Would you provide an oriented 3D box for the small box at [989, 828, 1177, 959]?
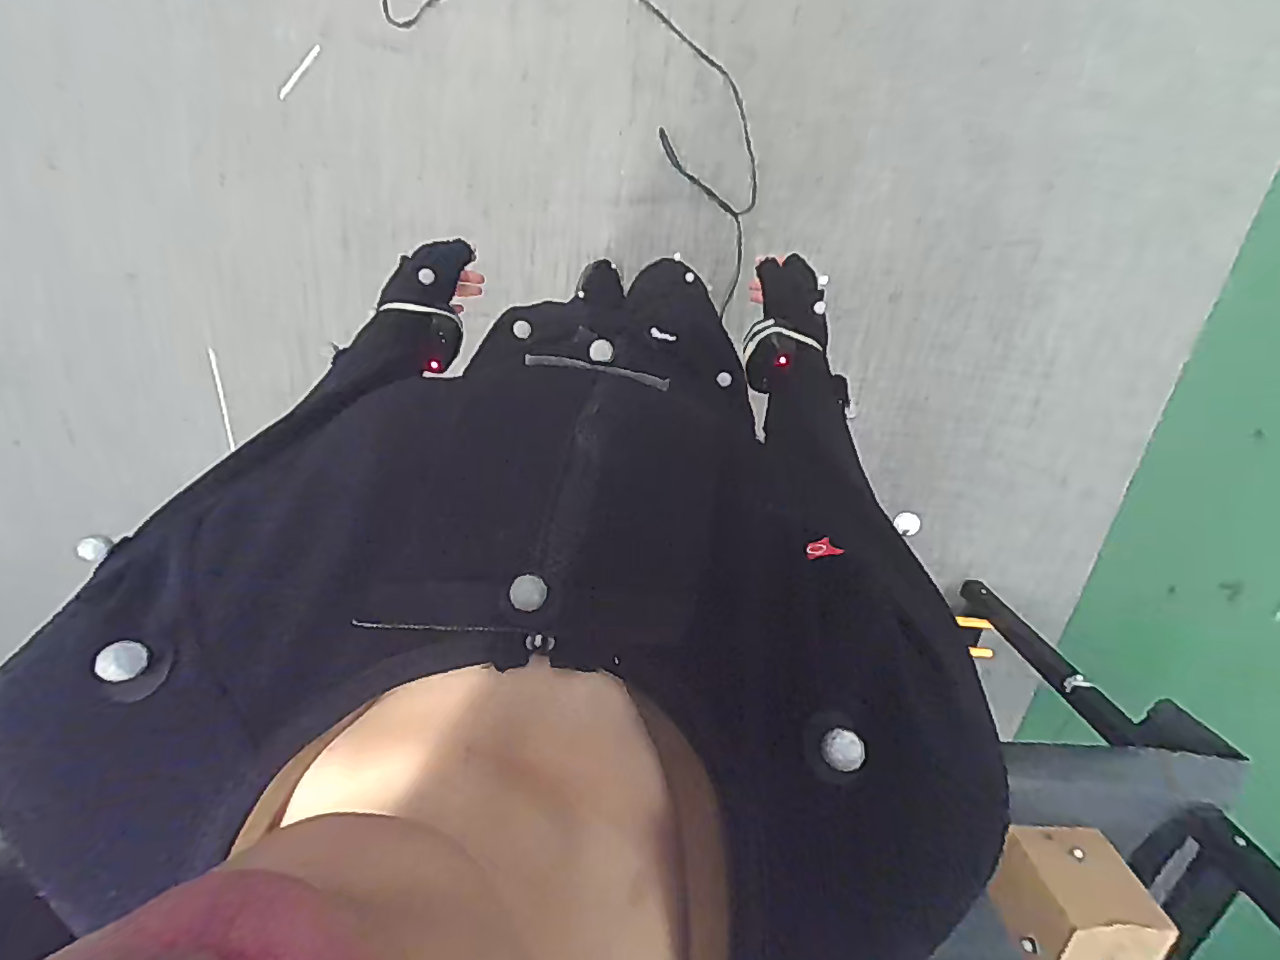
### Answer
[{"bbox_3d":[0.753,0.749,0.945,0.168,0.176,0.179,2,111,-1],"label":"small box"}]
